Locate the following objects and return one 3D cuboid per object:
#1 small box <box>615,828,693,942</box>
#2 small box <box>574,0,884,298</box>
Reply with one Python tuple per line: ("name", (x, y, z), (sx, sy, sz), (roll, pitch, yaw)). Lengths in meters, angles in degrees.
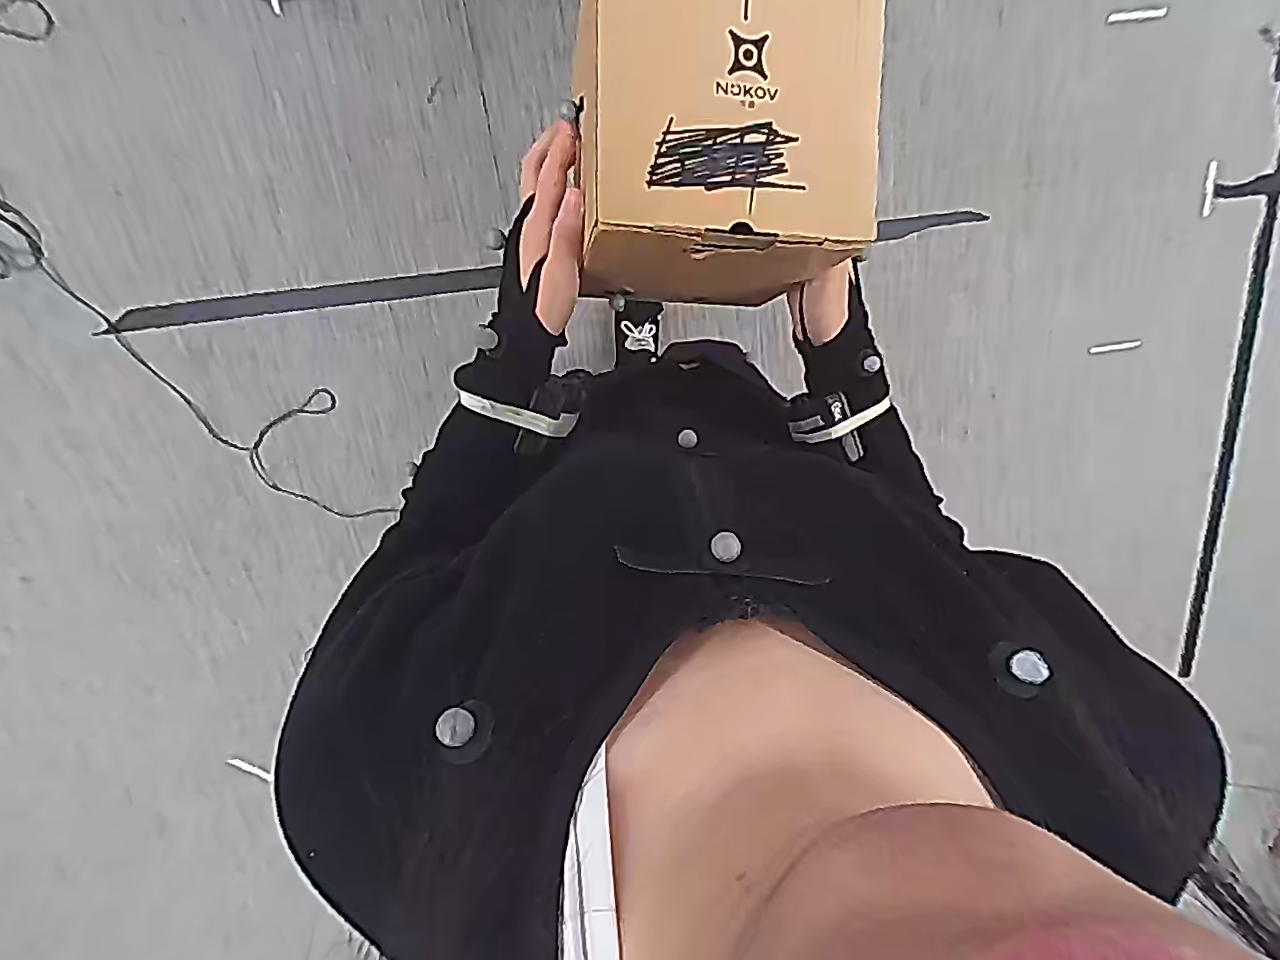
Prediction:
("small box", (0.032, 1.063, 1.434), (0.179, 0.176, 0.168), (-9, 106, -2))
("small box", (0.043, -0.235, 0.376), (0.168, 0.176, 0.179), (-1, 95, -11))
